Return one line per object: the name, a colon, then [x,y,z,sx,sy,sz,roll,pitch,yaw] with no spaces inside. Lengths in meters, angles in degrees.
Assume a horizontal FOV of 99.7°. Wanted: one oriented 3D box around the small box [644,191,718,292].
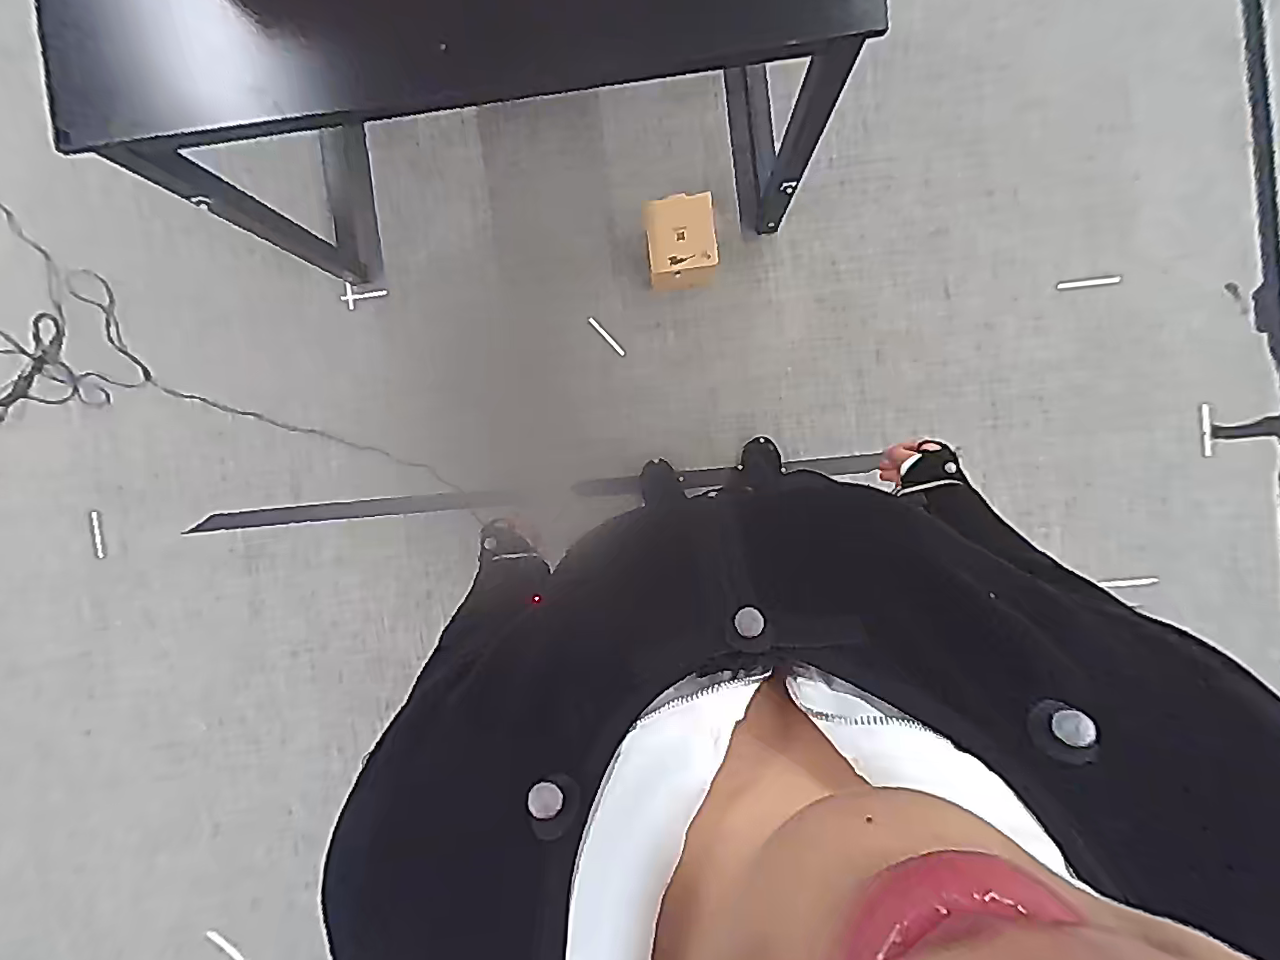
small box: [0.103,-0.604,1.387,0.168,0.176,0.179,-7,92,5]
